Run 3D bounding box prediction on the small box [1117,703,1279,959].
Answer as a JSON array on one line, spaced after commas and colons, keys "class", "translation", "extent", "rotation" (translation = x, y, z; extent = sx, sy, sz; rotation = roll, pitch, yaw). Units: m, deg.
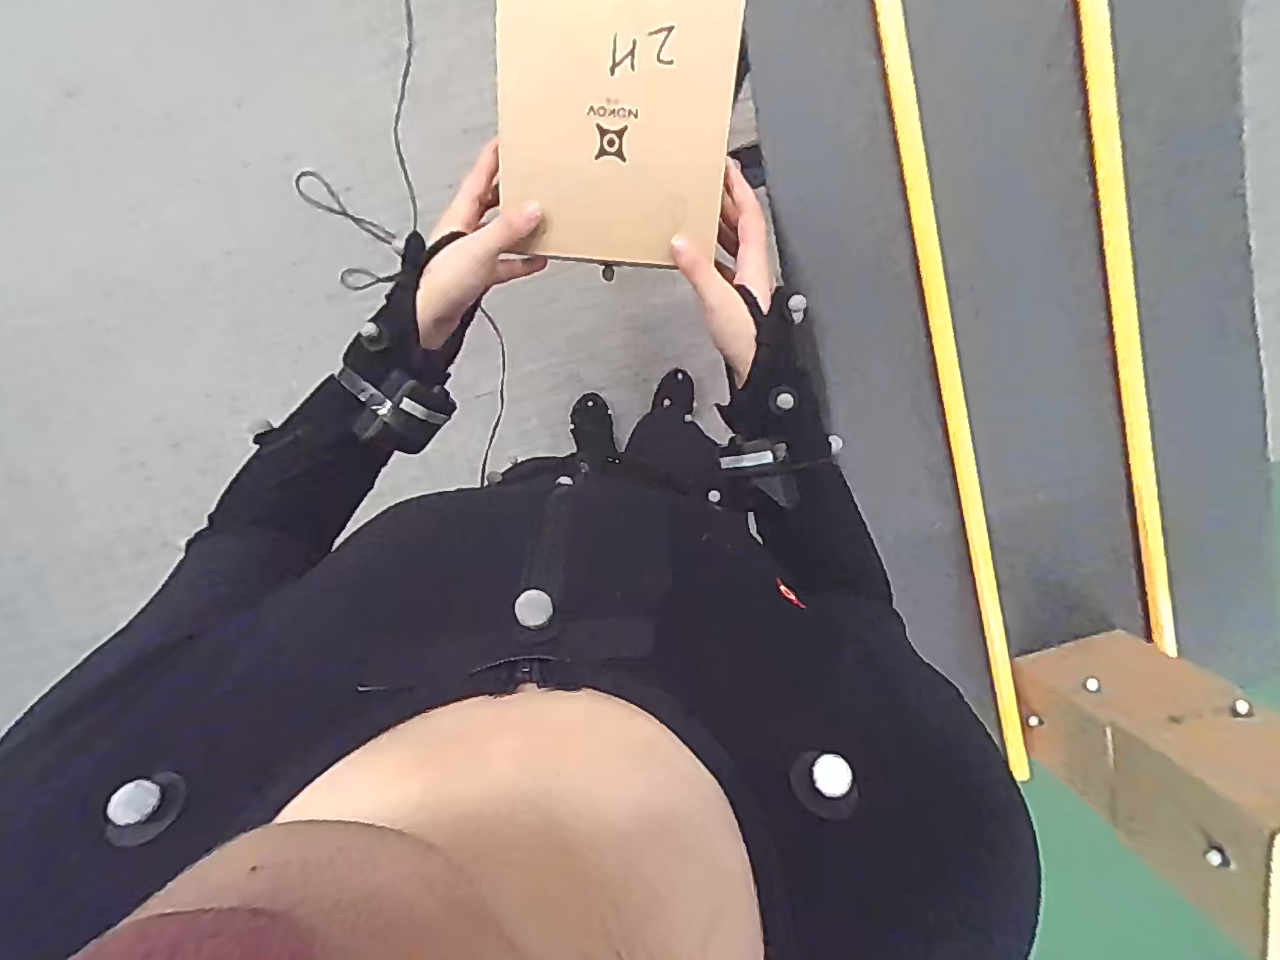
[{"class": "small box", "translation": [0.680, 0.372, 0.600], "extent": [0.168, 0.176, 0.179], "rotation": [-12, 101, 0]}]
